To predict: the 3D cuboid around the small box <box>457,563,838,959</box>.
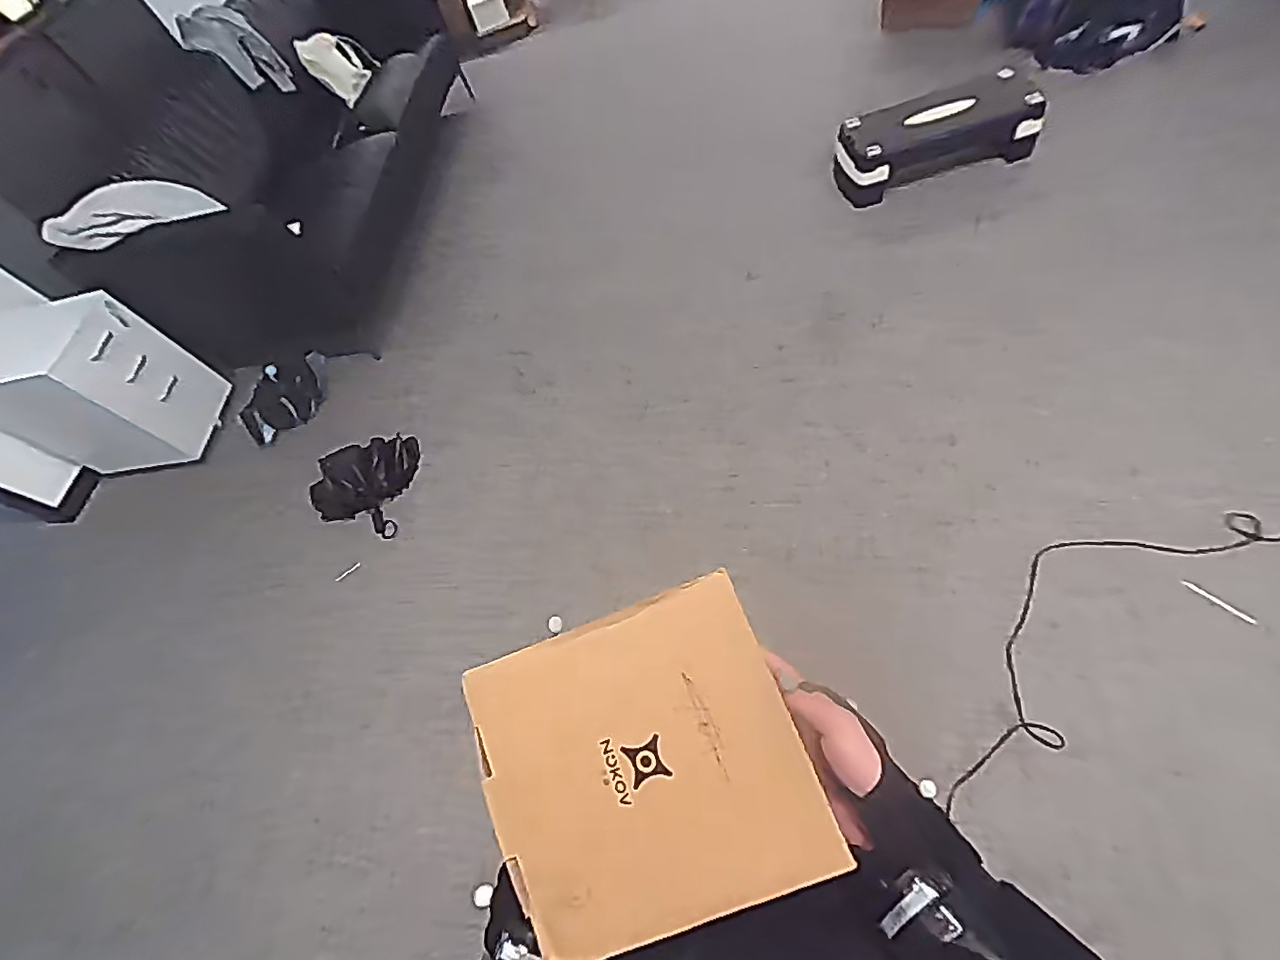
[{"bbox_3d":[0.008,0.170,0.381,0.179,0.176,0.168,-24,77,3],"label":"small box"}]
